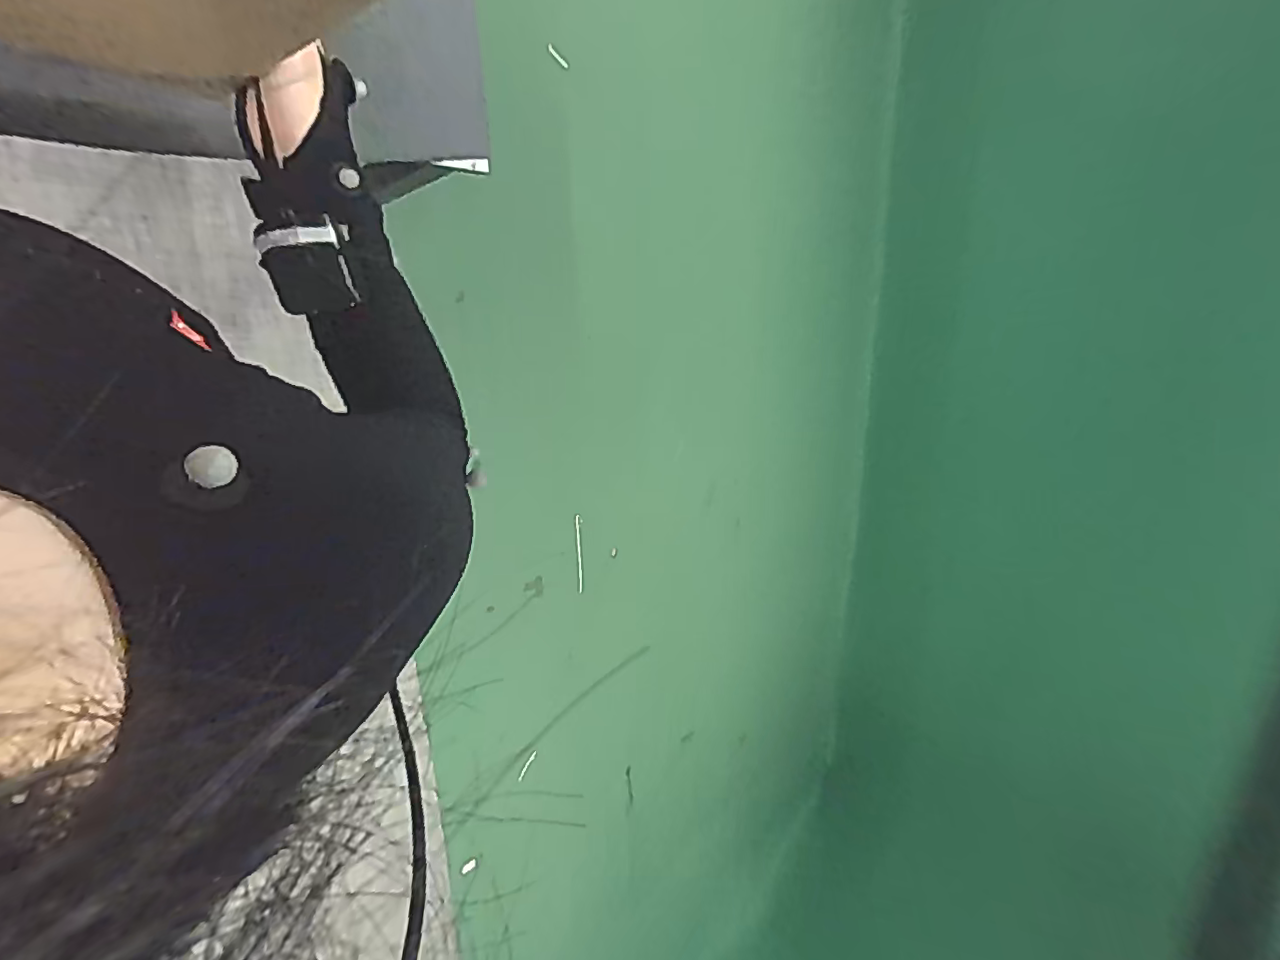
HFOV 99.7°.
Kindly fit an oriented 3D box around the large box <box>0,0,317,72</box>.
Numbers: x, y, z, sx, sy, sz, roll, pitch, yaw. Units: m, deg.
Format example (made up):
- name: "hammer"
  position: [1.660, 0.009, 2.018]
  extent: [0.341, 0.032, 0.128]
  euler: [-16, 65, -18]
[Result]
- name: "large box"
  position: [-0.334, -0.370, 0.132]
  extent: [0.408, 0.320, 0.320]
  euler: [-14, 119, -46]
